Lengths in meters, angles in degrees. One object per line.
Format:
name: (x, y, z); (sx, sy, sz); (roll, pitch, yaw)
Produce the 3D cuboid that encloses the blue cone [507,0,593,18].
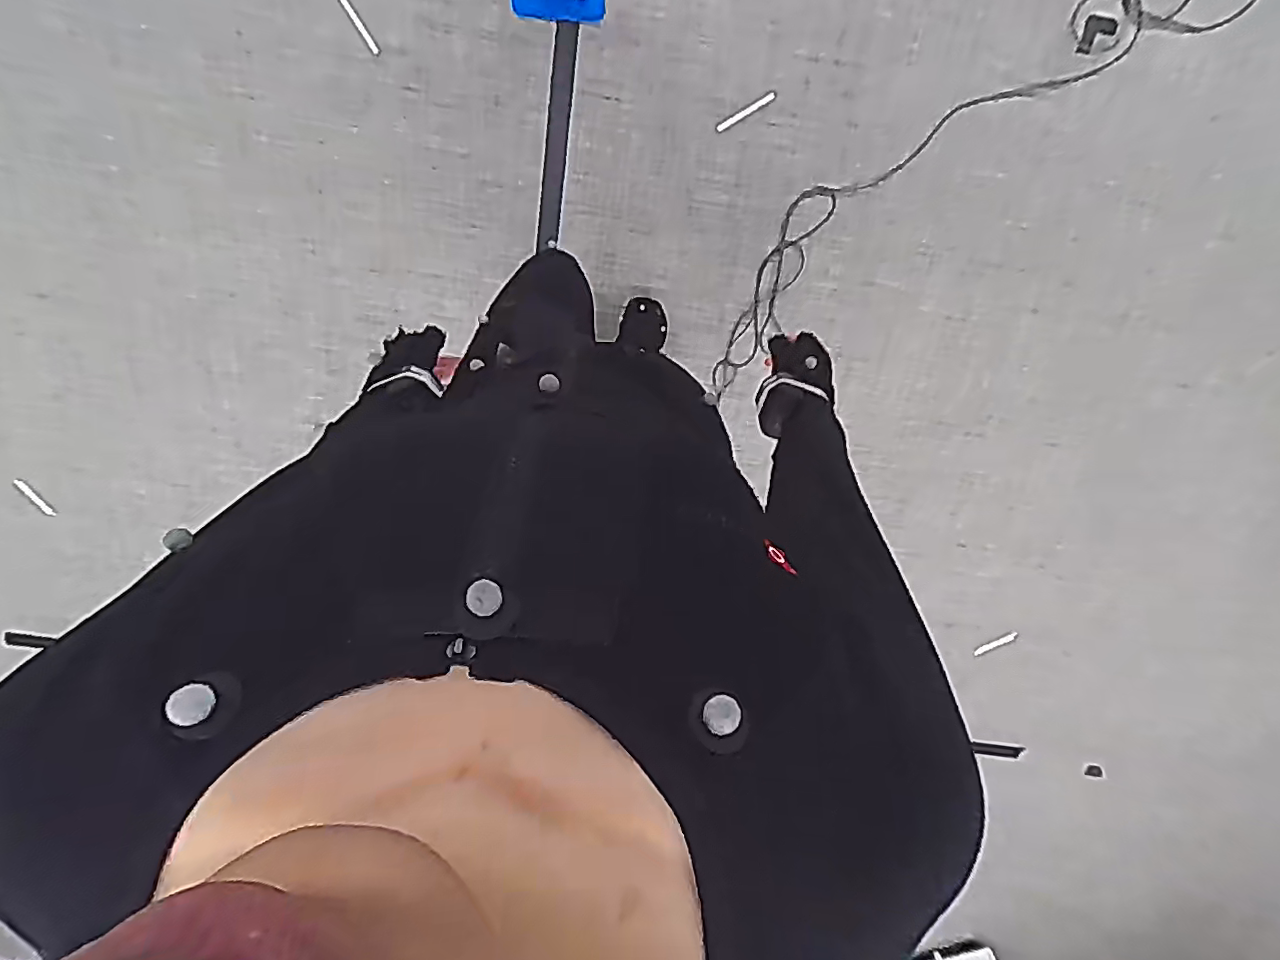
blue cone: (-0.189, -1.023, 0.967); (0.192, 0.380, 0.193); (5, 109, 0)
